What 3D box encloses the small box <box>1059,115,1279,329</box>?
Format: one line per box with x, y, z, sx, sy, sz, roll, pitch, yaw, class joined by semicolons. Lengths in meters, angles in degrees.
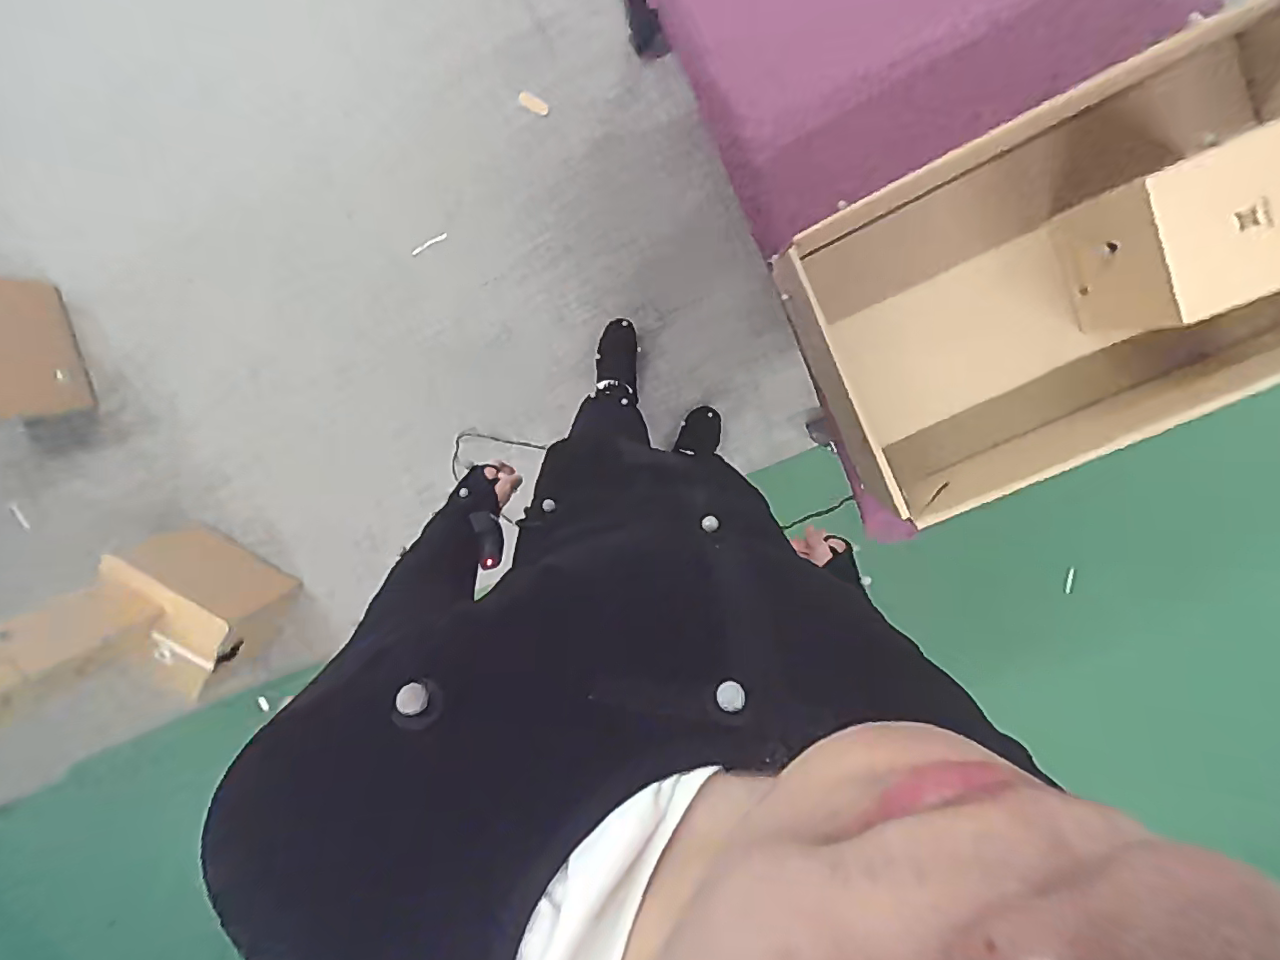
0.647;-0.293;0.644;0.179;0.176;0.168;-22;98;10;small box

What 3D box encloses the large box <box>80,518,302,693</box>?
-1.392;0.376;1.702;0.408;0.320;0.320;31;104;-4;large box
